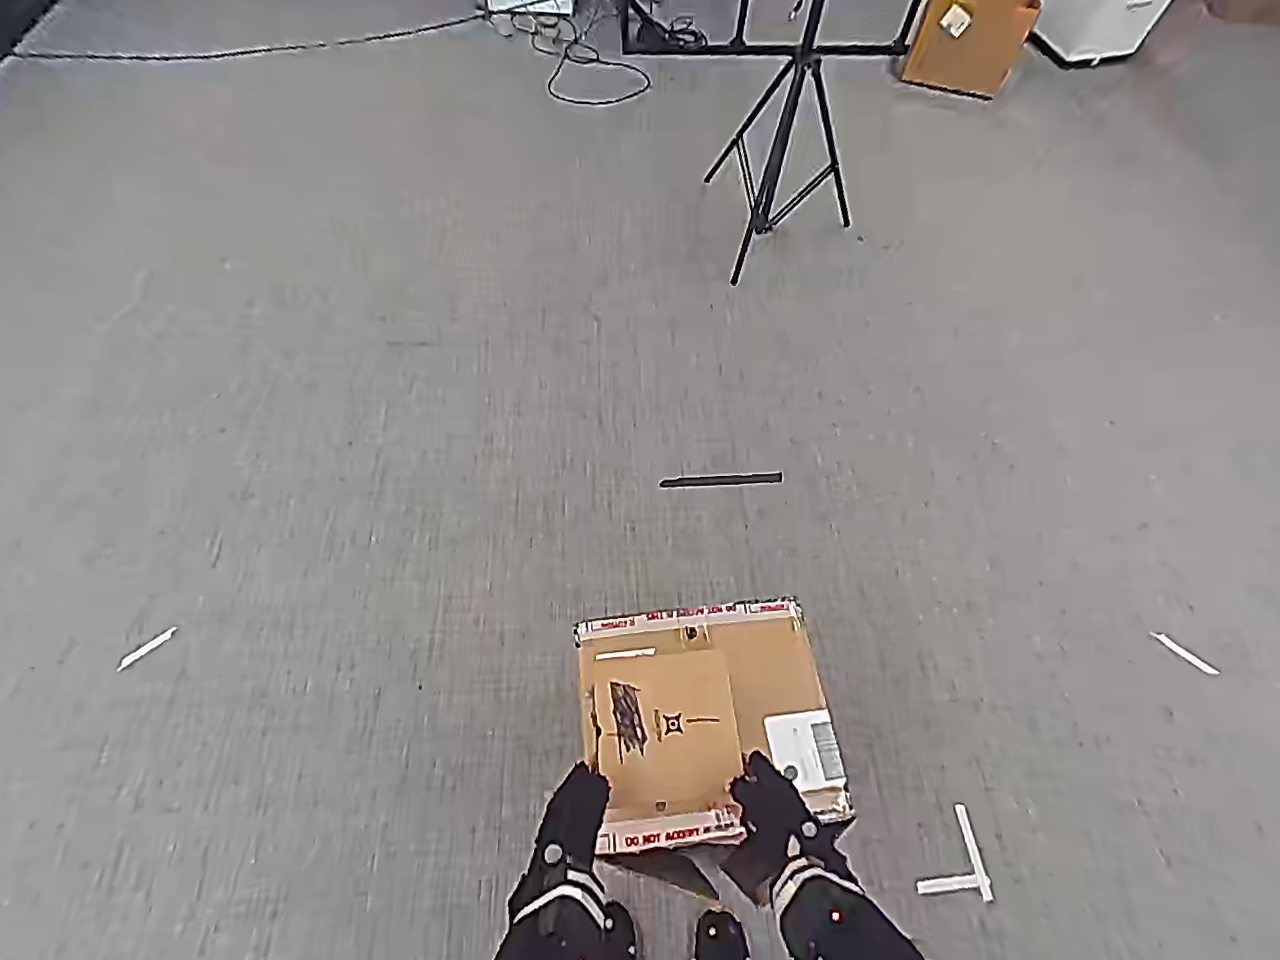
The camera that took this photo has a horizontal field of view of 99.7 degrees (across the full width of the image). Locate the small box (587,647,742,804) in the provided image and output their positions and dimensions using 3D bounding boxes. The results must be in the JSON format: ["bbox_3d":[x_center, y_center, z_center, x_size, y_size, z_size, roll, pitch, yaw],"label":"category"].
[{"bbox_3d":[0.023,0.328,0.729,0.179,0.176,0.168,-3,66,-6],"label":"small box"}]
